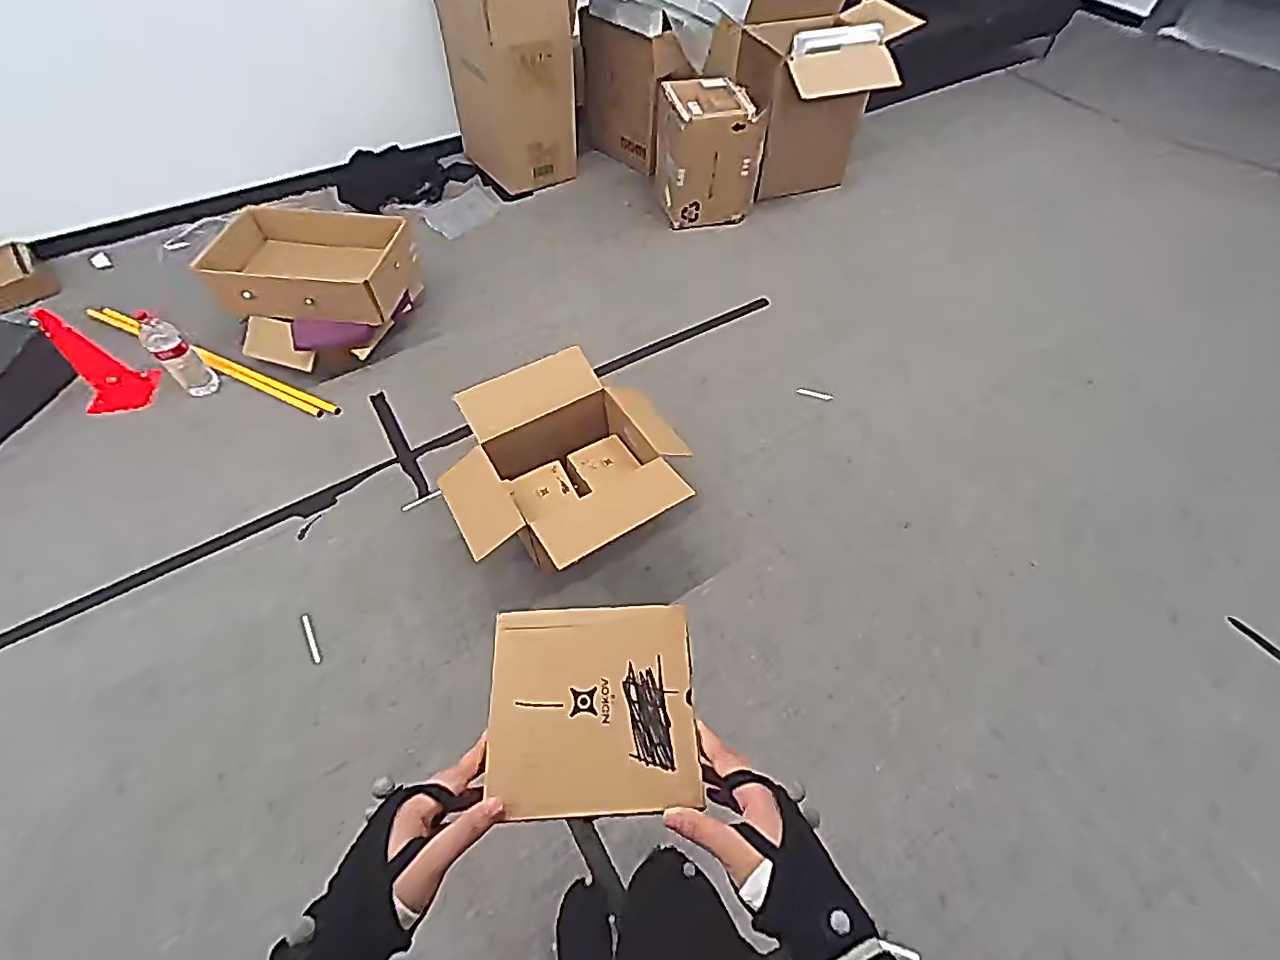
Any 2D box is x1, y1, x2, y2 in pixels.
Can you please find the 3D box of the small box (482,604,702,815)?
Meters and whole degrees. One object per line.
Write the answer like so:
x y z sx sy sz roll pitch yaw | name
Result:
-0.043 0.228 0.533 0.179 0.176 0.168 -2 59 -3 | small box
